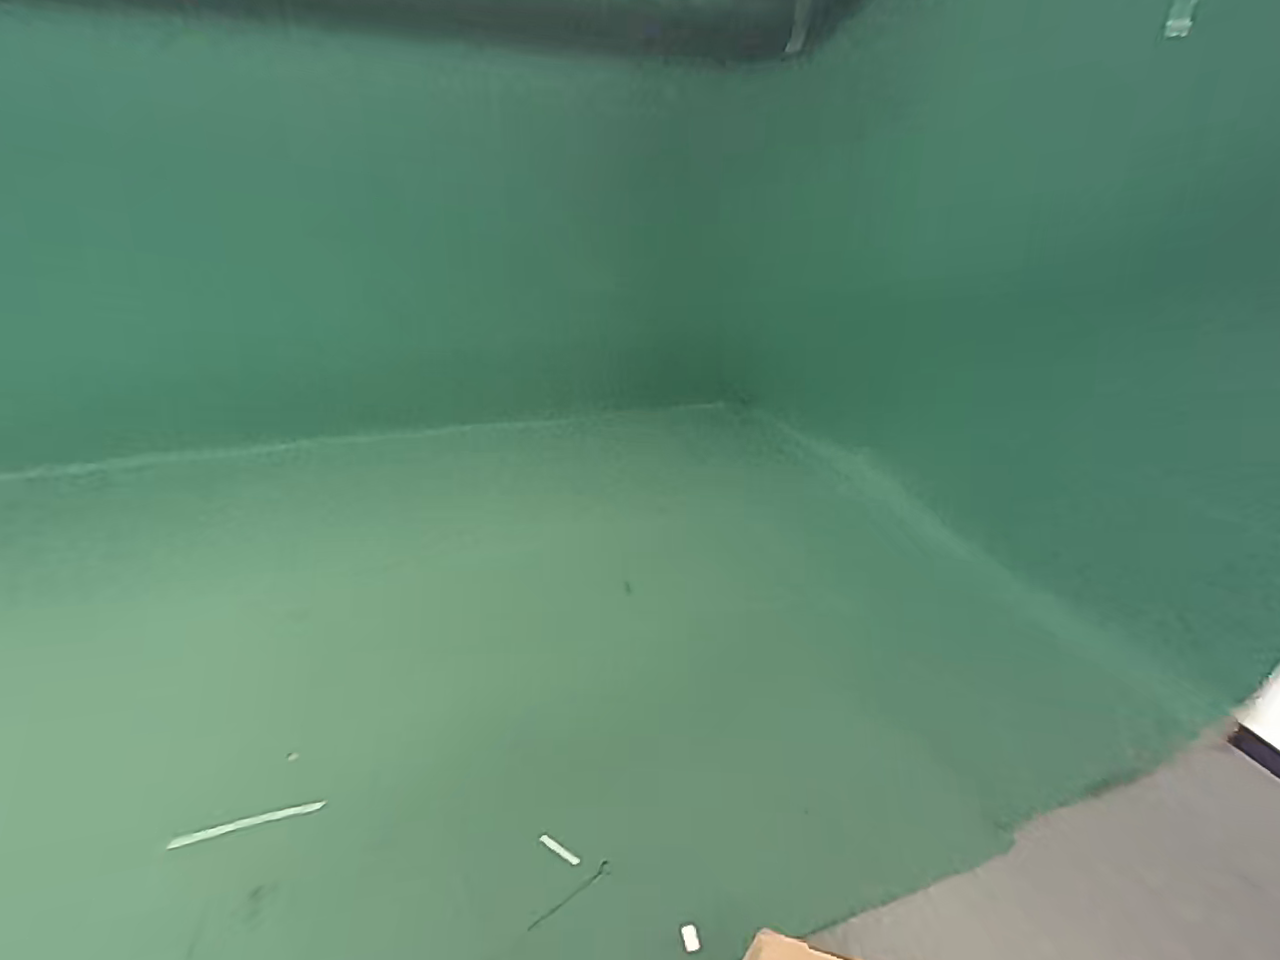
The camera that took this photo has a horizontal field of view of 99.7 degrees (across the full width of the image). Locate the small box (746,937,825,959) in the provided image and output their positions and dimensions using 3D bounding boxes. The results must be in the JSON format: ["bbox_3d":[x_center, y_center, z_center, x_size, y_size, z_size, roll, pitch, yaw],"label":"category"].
[{"bbox_3d":[0.134,0.434,0.332,0.168,0.176,0.179,10,40,12],"label":"small box"}]
